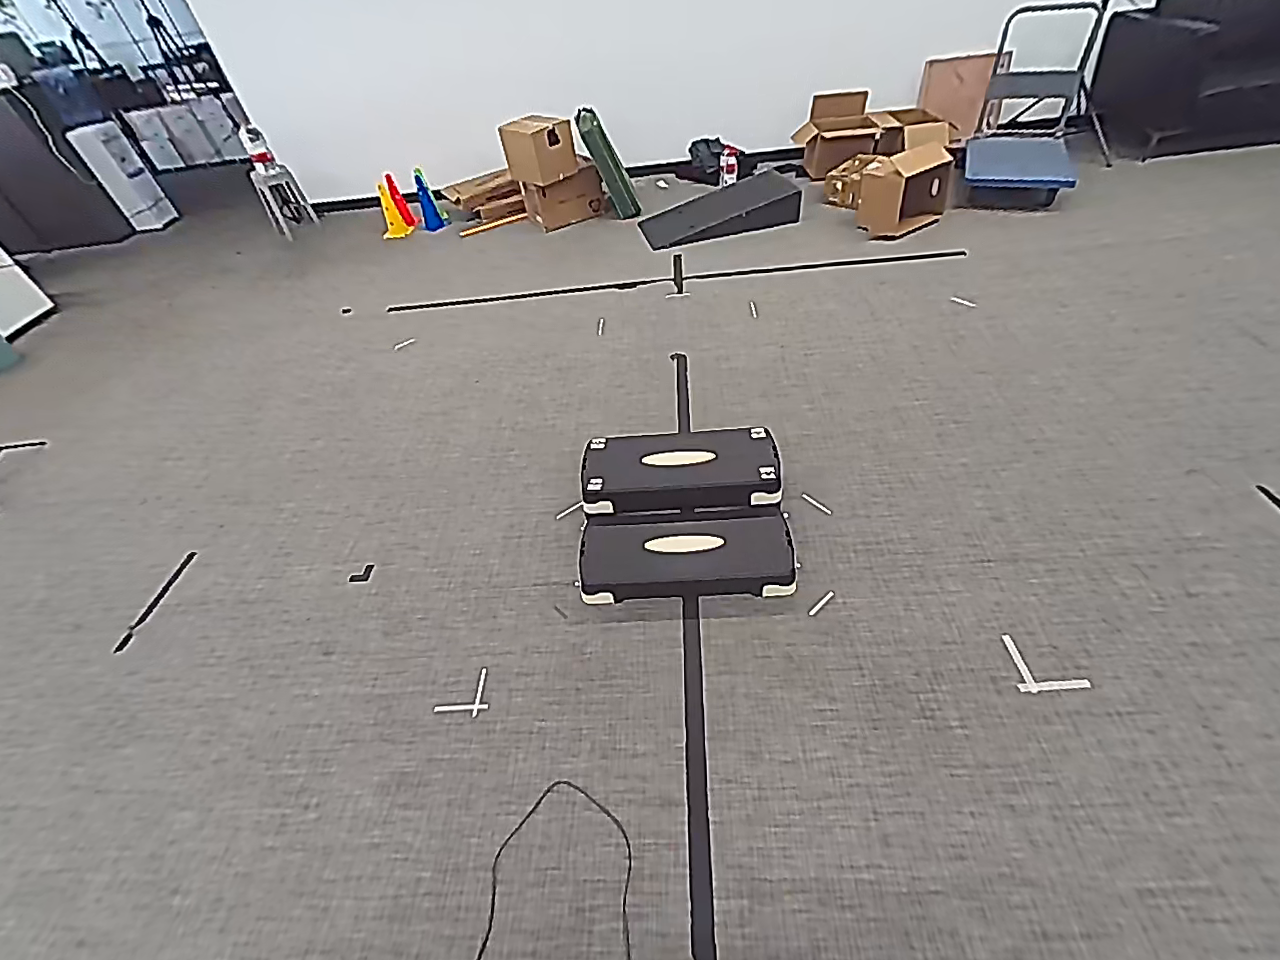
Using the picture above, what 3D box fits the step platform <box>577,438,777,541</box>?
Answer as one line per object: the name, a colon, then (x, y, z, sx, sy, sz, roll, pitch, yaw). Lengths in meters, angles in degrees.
step platform: (0.123, 0.027, 1.880, 0.684, 0.204, 0.286, -4, 46, 4)
